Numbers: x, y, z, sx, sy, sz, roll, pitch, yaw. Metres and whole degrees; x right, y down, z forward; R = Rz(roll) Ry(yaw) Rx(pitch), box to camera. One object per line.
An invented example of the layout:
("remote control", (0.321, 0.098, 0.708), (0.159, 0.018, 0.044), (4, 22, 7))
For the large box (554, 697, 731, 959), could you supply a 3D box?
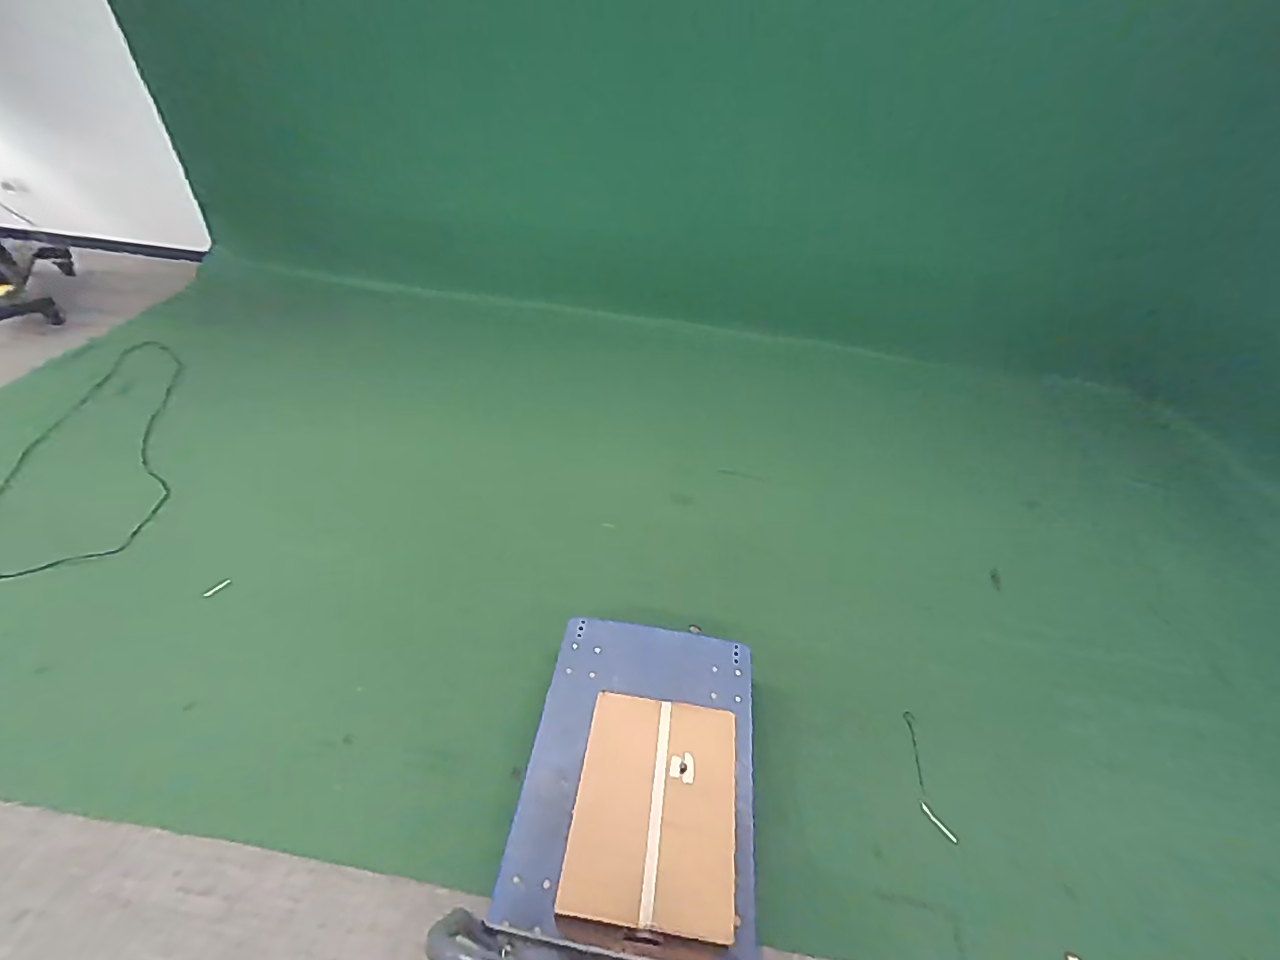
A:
("large box", (0.012, 0.748, 1.162), (0.320, 0.320, 0.408), (9, 41, 2))
